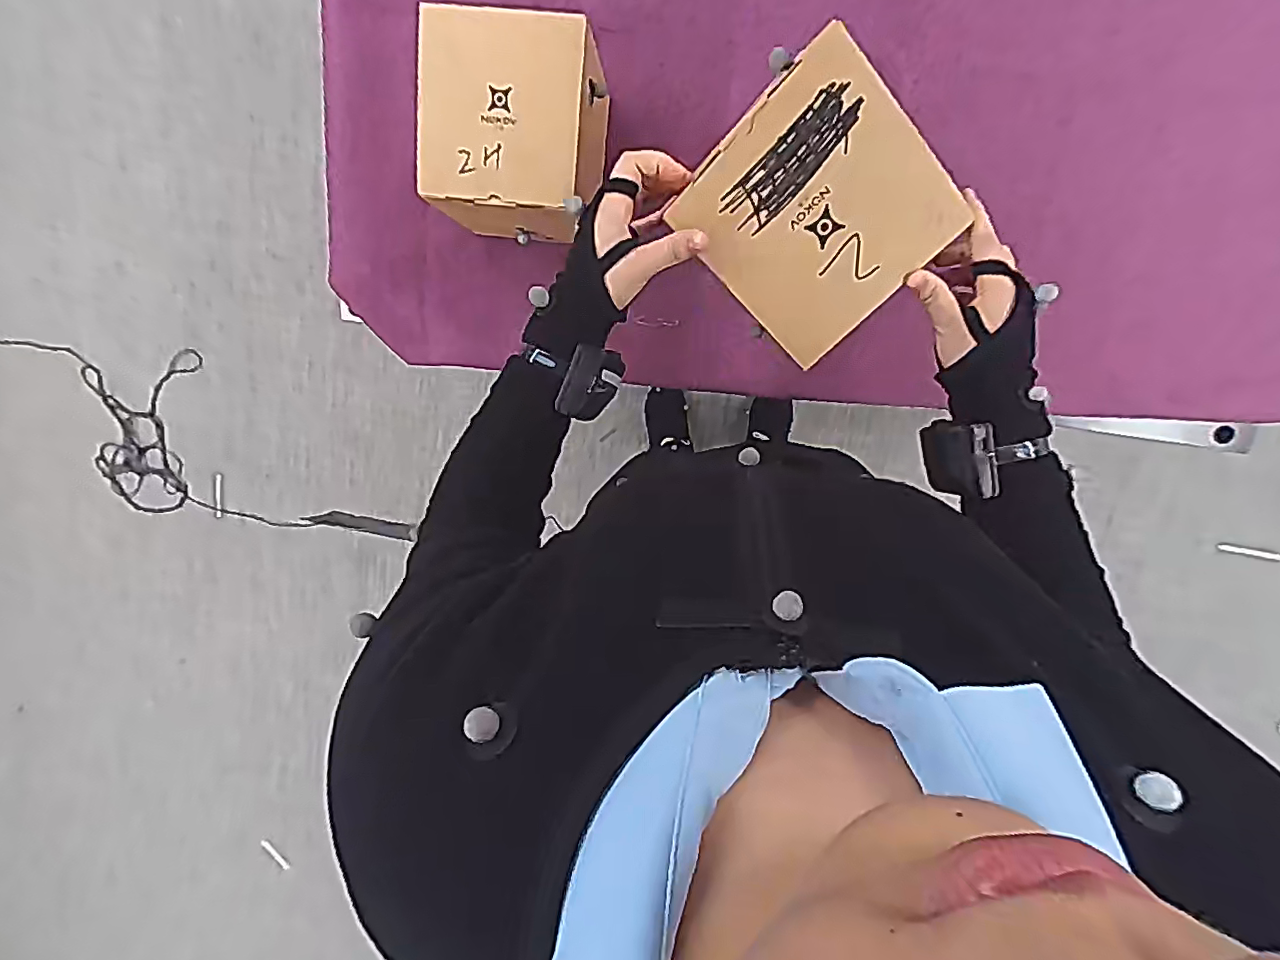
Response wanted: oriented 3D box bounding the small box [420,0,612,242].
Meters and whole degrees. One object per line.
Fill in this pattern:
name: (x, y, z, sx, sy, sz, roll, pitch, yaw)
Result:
small box: (-0.127, -0.384, 0.604, 0.168, 0.176, 0.179, 7, 103, 3)
